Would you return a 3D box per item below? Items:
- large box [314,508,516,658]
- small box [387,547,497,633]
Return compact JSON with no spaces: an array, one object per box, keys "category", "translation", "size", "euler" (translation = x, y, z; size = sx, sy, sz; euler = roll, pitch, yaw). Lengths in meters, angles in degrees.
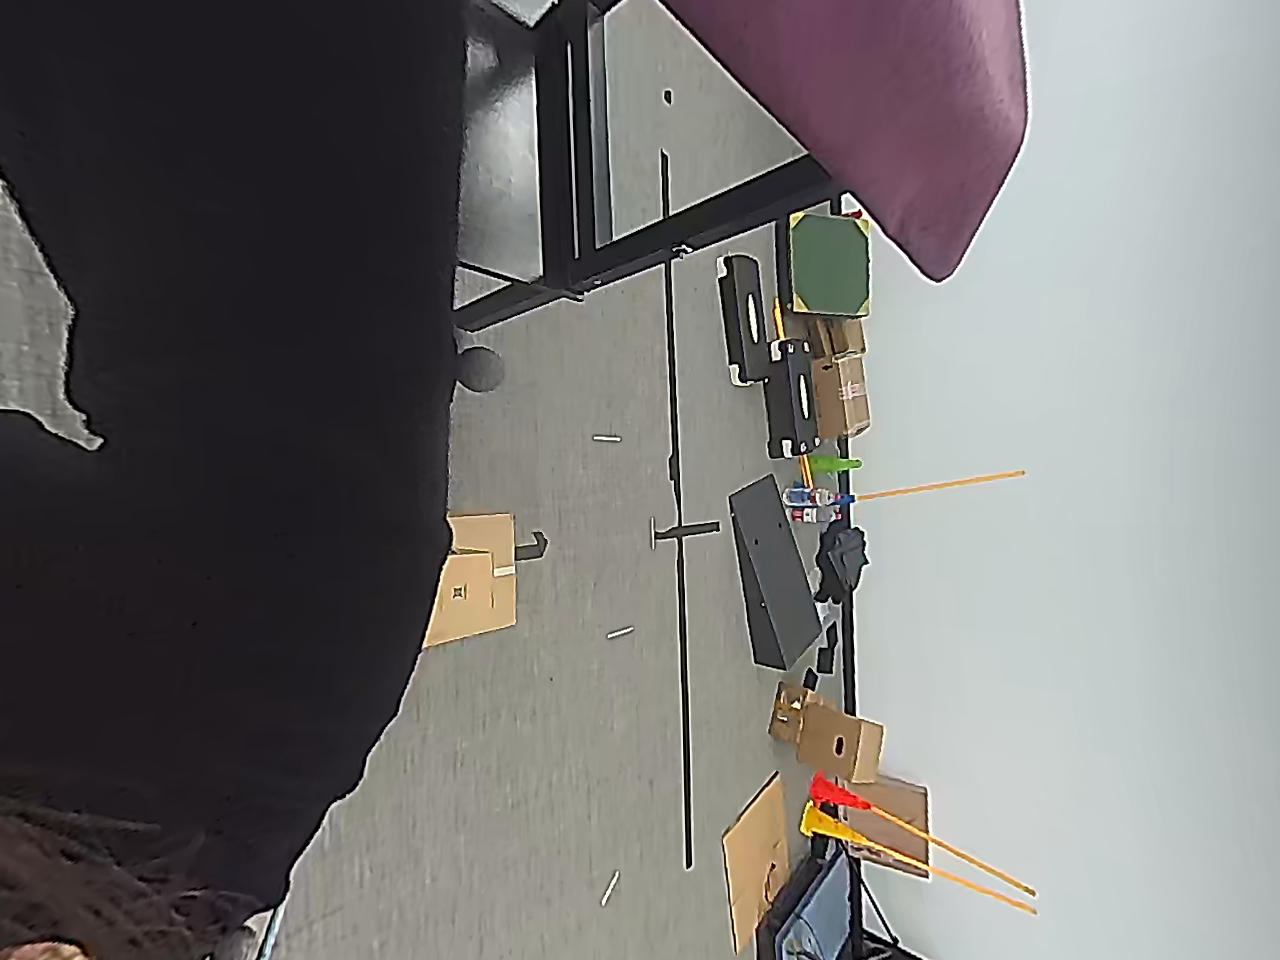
[{"category":"large box","translation":[-0.590,0.241,1.437],"size":[0.408,0.320,0.320],"euler":[-2,91,-49]},{"category":"small box","translation":[-0.447,0.241,1.228],"size":[0.179,0.176,0.168],"euler":[4,85,-48]}]
